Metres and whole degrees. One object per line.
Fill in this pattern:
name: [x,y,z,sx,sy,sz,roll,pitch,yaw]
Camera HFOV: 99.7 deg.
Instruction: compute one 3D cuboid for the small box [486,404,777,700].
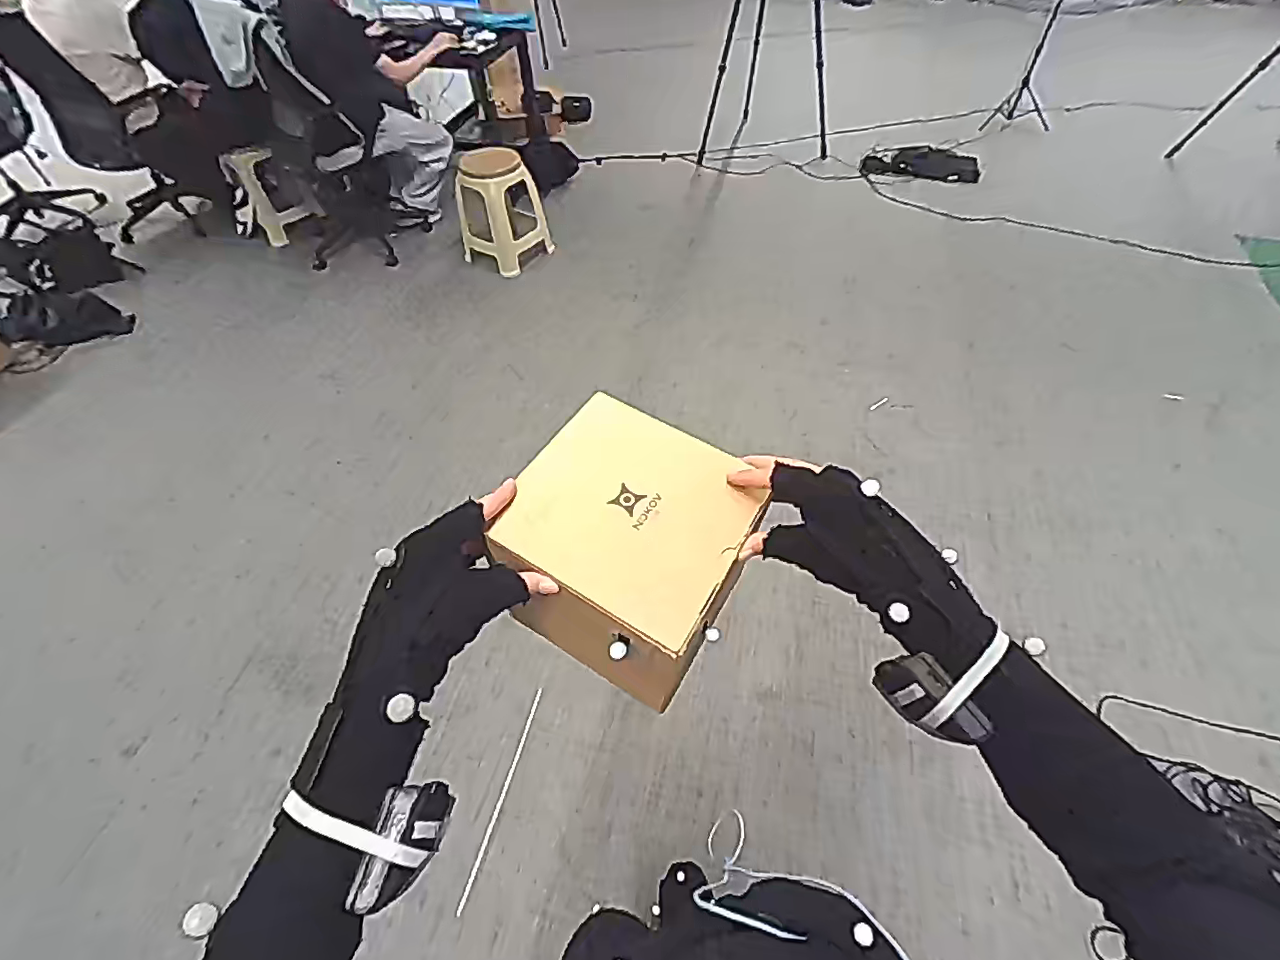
small box: [-0.007,0.070,0.487,0.179,0.176,0.168,29,58,16]
